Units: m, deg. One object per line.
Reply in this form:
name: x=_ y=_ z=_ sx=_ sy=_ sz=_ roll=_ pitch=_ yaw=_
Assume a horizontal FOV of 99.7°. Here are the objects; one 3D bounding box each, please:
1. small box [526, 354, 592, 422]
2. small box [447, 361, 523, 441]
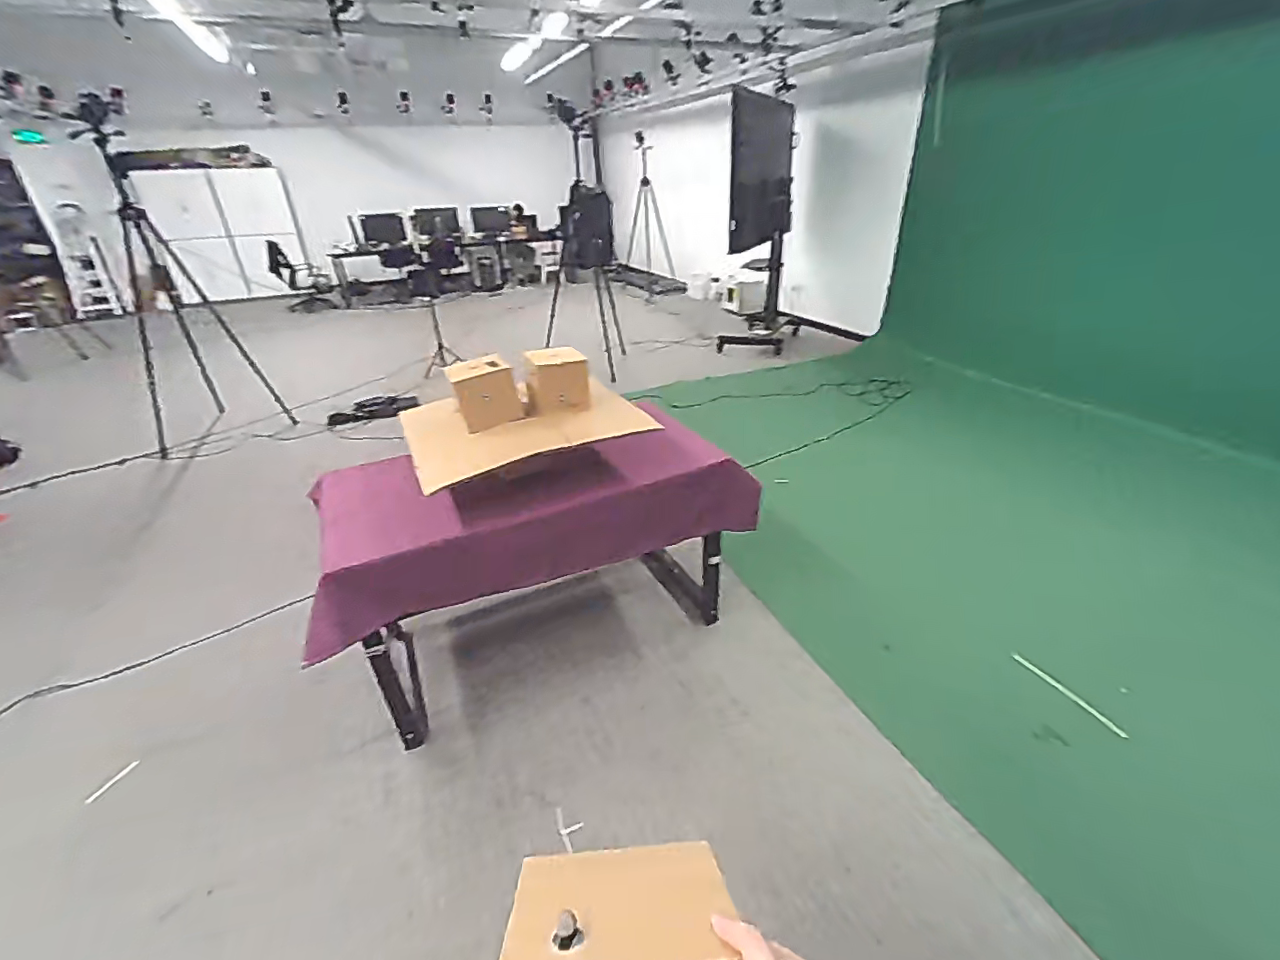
small box: x=-0.262 y=-0.298 z=1.741 sx=0.168 sy=0.176 sz=0.179 roll=-13 pitch=31 yaw=-22
small box: x=-0.469 y=-0.244 z=1.658 sx=0.179 sy=0.176 sz=0.168 roll=-21 pitch=34 yaw=-18
